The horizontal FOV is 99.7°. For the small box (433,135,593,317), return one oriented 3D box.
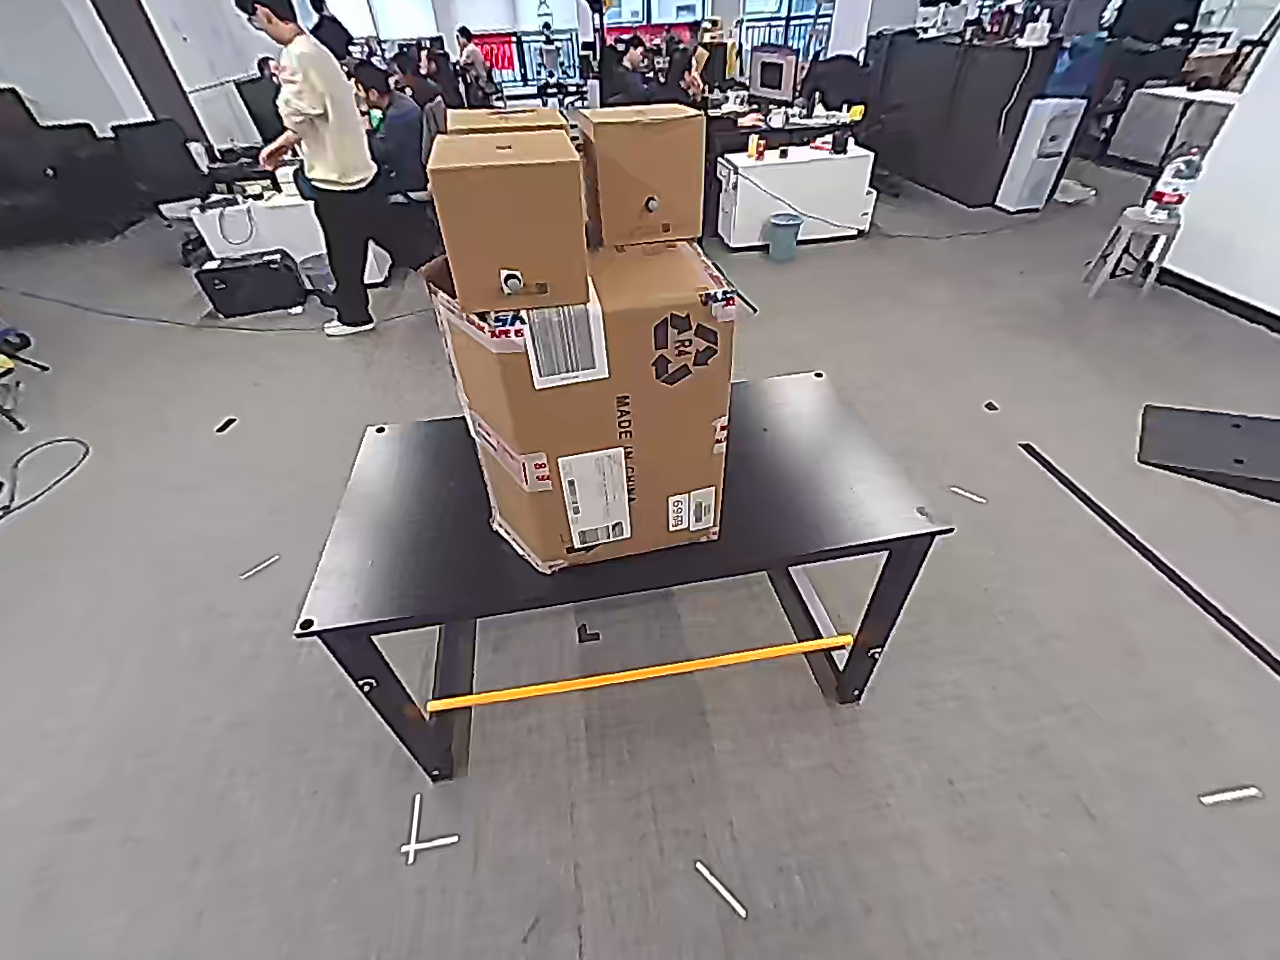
[{"bbox_3d":[-0.157,-0.329,0.698,0.168,0.176,0.179,-10,44,-9],"label":"small box"}]

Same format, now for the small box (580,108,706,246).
[{"bbox_3d":[0.000,-0.492,0.878,0.168,0.176,0.179,-10,40,-8],"label":"small box"}]
